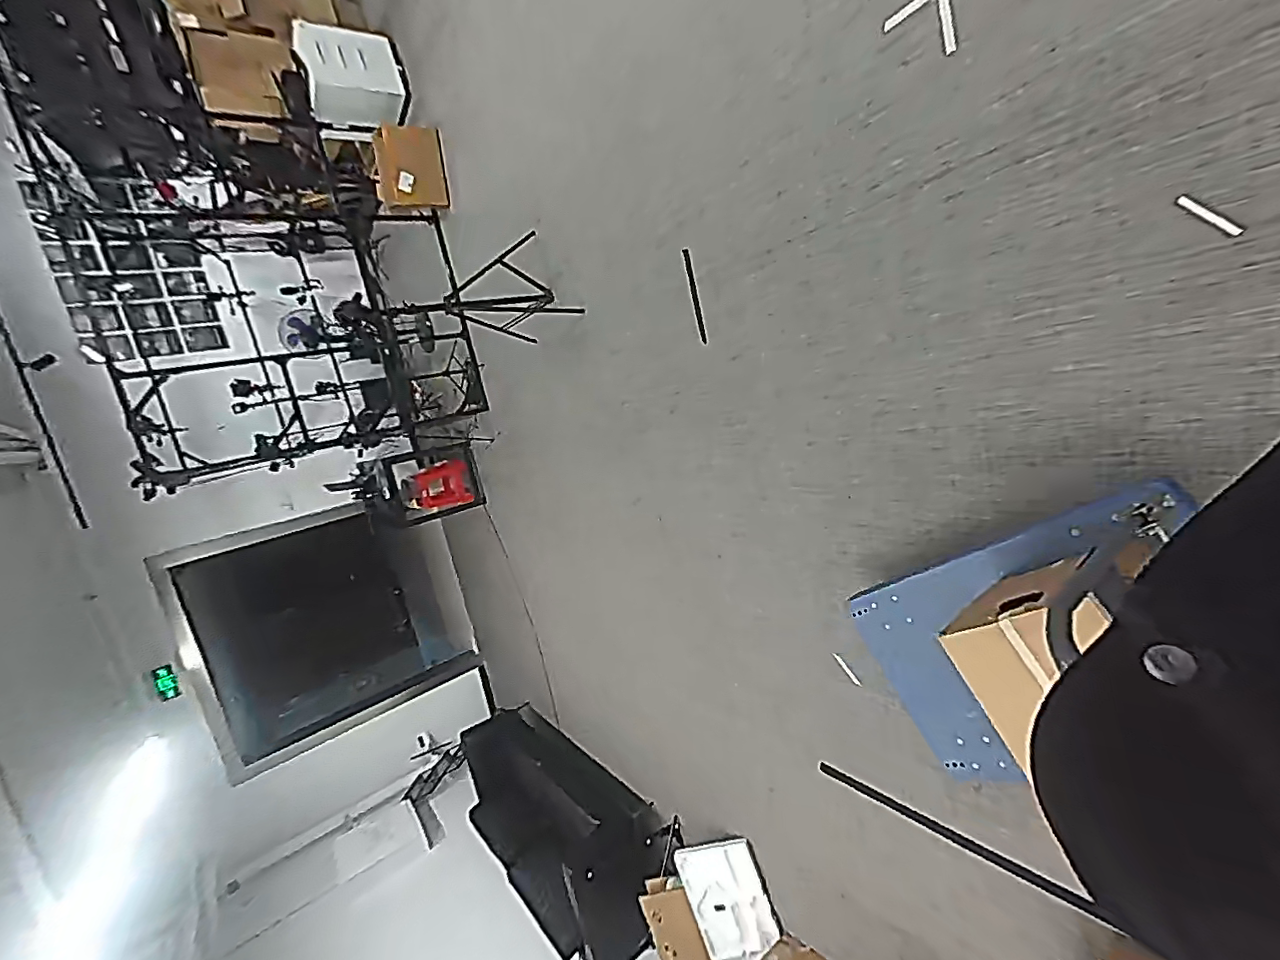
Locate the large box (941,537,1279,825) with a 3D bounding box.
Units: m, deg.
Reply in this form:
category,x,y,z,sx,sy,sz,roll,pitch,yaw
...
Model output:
category,x,y,z,sx,sy,sz,roll,pitch,yaw
large box,0.915,0.384,1.067,0.408,0.320,0.320,62,145,15
